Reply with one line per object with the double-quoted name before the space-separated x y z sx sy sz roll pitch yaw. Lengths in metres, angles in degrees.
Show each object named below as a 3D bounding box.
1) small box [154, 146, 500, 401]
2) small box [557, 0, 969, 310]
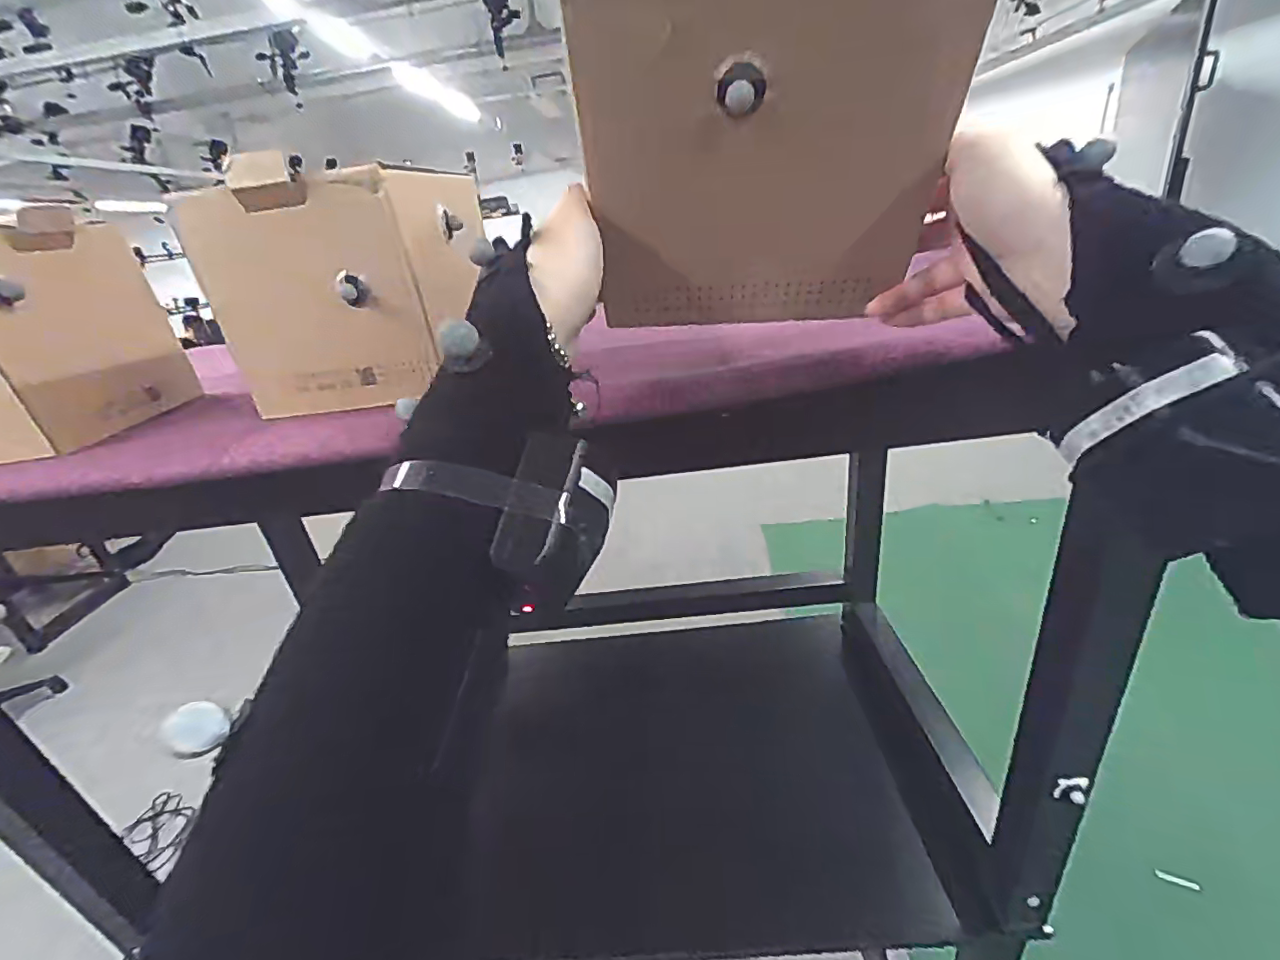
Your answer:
"small box" -0.235 -0.169 0.465 0.168 0.176 0.179 -4 25 6
"small box" 0.061 -0.215 0.315 0.179 0.176 0.168 0 52 5
